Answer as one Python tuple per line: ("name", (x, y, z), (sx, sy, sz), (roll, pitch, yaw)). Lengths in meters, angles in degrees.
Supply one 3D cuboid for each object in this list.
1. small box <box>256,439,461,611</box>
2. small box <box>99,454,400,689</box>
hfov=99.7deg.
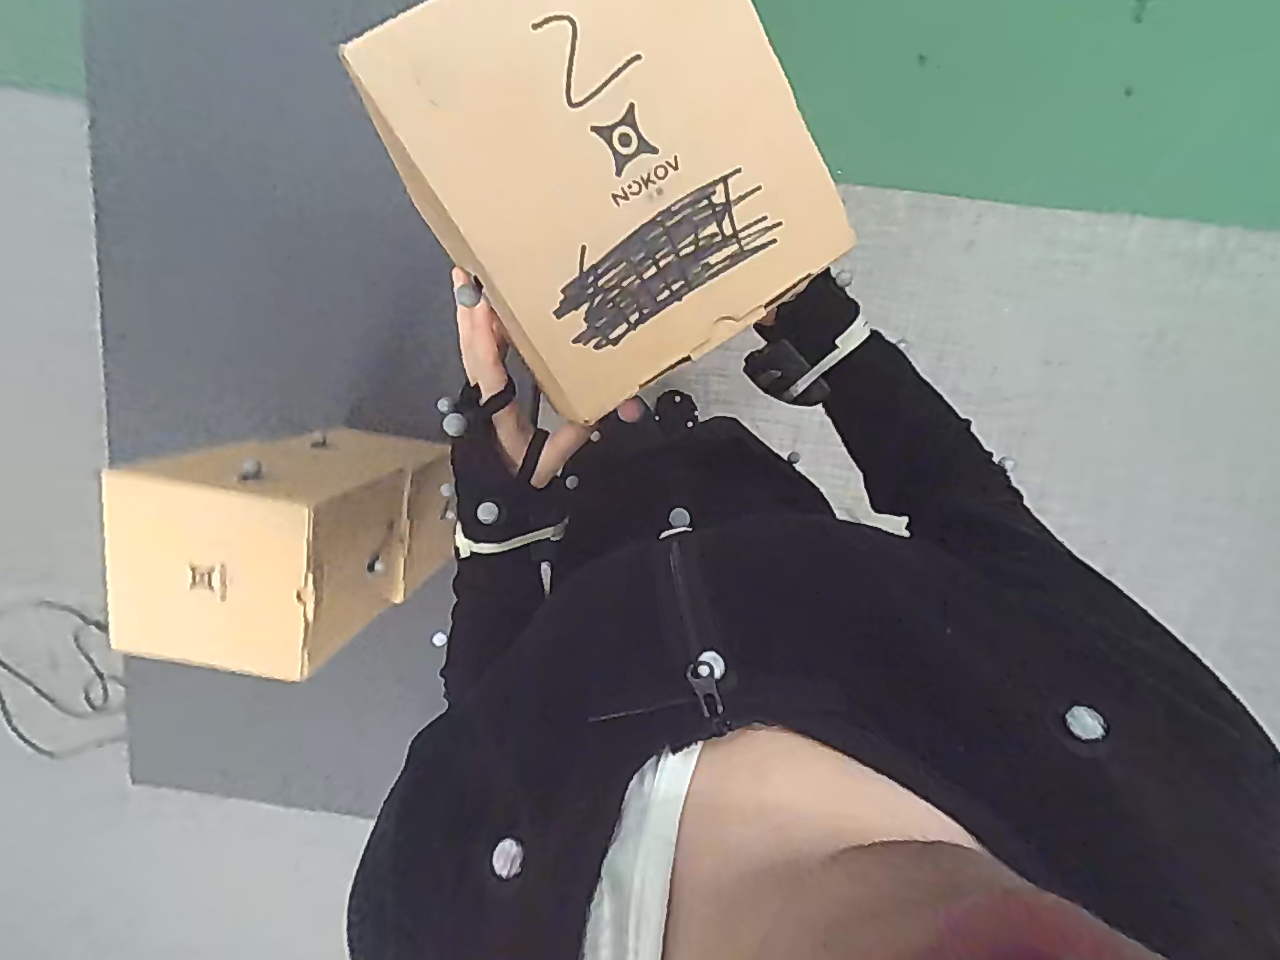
("small box", (-0.351, 0.046, 0.691), (0.179, 0.176, 0.168), (9, 102, 0))
("small box", (-0.365, 0.074, 0.531), (0.179, 0.176, 0.168), (9, 101, 0))
